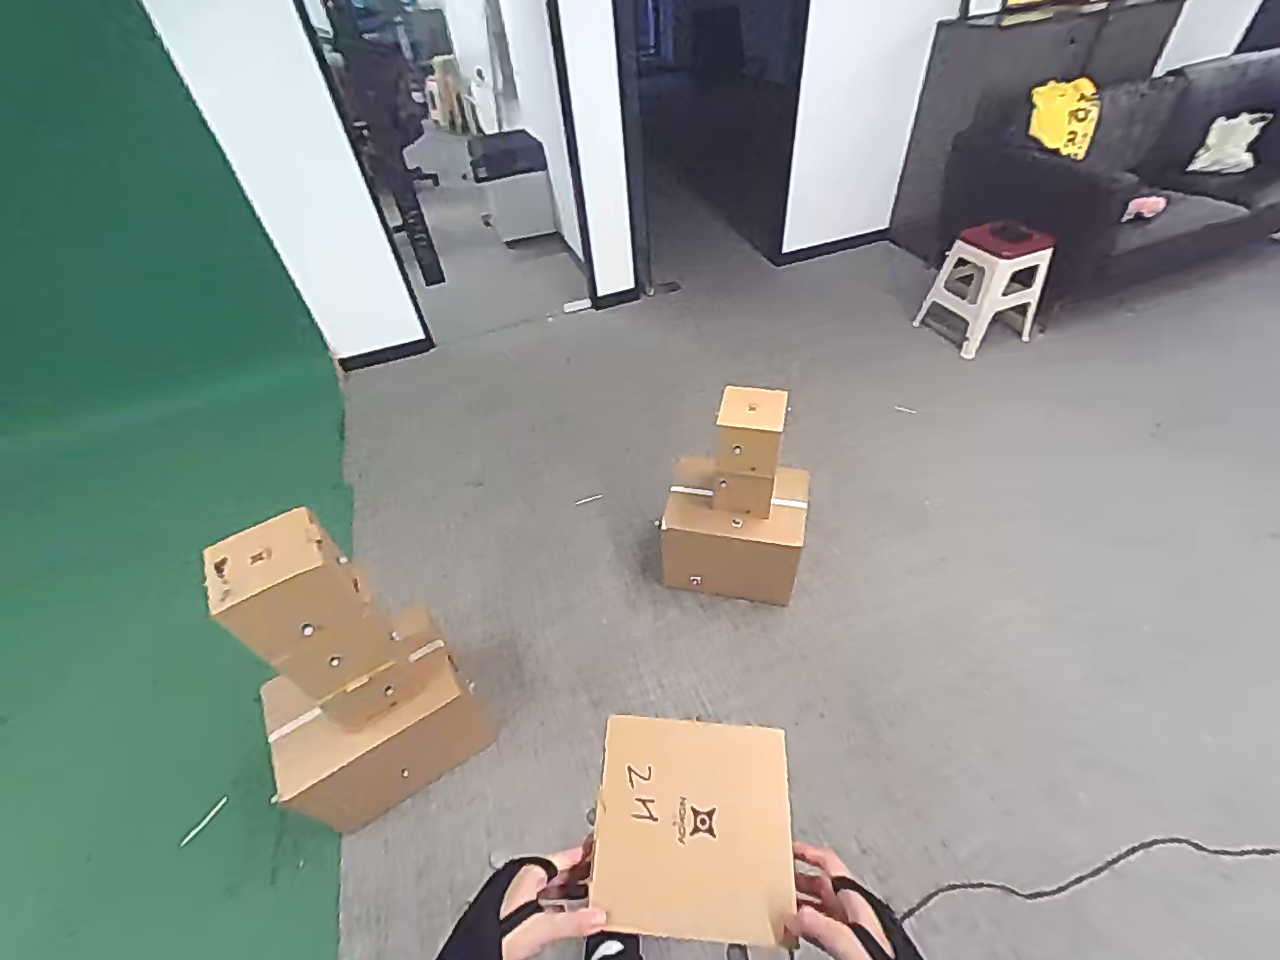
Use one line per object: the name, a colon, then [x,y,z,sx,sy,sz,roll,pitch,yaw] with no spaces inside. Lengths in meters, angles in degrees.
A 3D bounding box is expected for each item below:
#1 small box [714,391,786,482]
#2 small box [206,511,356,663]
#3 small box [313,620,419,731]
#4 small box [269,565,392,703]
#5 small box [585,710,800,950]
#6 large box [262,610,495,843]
small box: [0.293,-0.116,1.448,0.168,0.176,0.179,7,44,13]
small box: [-0.645,0.195,0.988,0.179,0.176,0.168,-26,48,-22]
small box: [-0.621,0.433,1.213,0.168,0.176,0.179,-27,48,-21]
small box: [-0.631,0.313,1.102,0.179,0.176,0.168,-28,49,-21]
small box: [0.049,0.344,0.542,0.179,0.176,0.168,5,54,3]
large box: [-0.646,0.618,1.376,0.408,0.320,0.320,-29,48,-20]
